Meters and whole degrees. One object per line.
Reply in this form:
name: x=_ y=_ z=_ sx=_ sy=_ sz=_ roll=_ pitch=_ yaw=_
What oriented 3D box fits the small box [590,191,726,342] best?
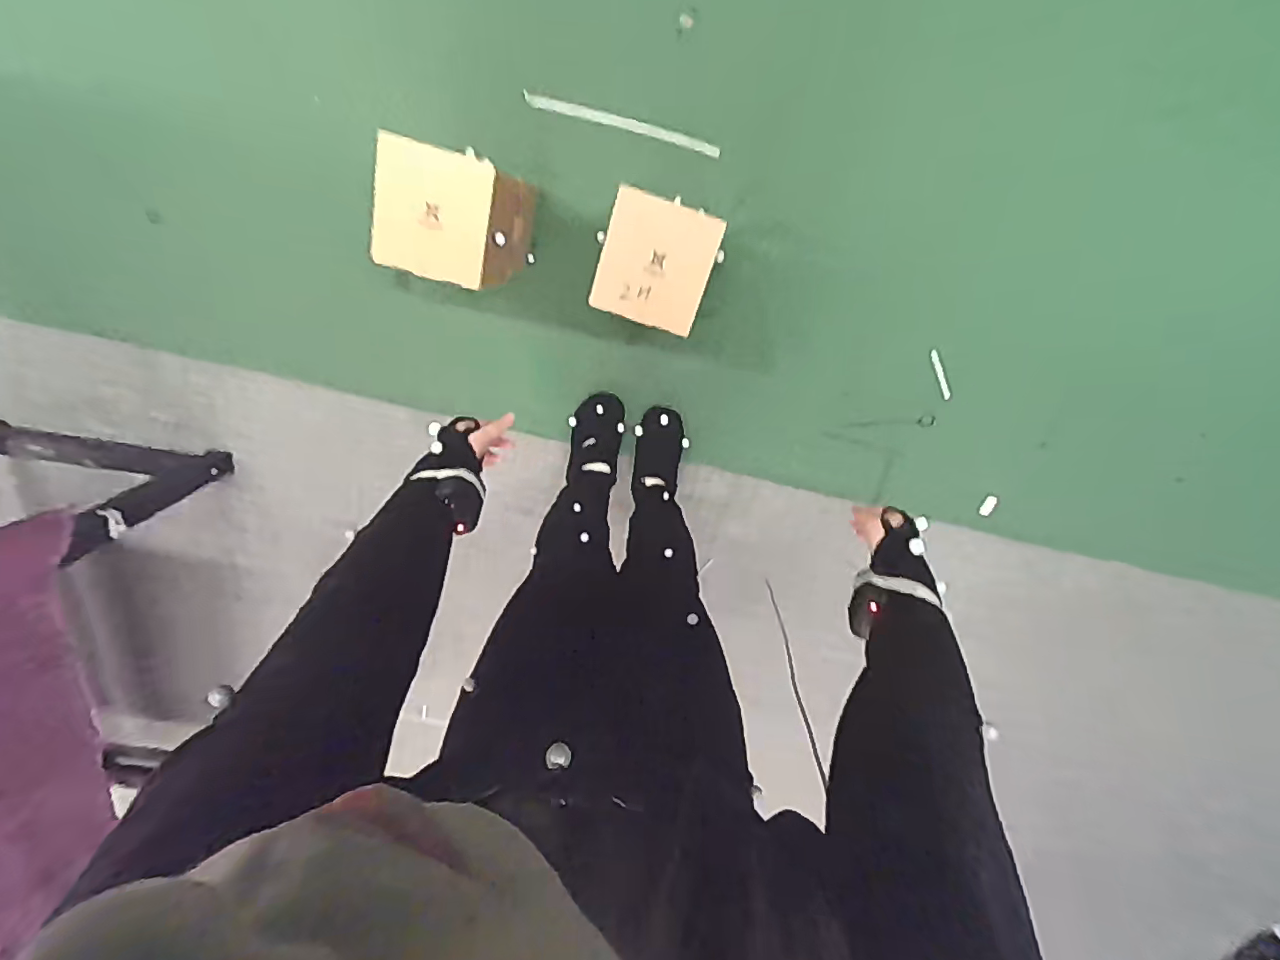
small box: x=0.025 y=-0.350 z=0.891 sx=0.168 sy=0.176 sz=0.179 roll=18 pitch=113 yaw=-6

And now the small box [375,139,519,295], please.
small box: x=-0.301 y=-0.415 z=0.872 sx=0.168 sy=0.176 sz=0.179 roll=15 pitch=113 yaw=-5

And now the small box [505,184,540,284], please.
small box: x=-0.298 y=-0.483 z=1.020 sx=0.179 sy=0.176 sz=0.168 roll=14 pitch=113 yaw=-4
